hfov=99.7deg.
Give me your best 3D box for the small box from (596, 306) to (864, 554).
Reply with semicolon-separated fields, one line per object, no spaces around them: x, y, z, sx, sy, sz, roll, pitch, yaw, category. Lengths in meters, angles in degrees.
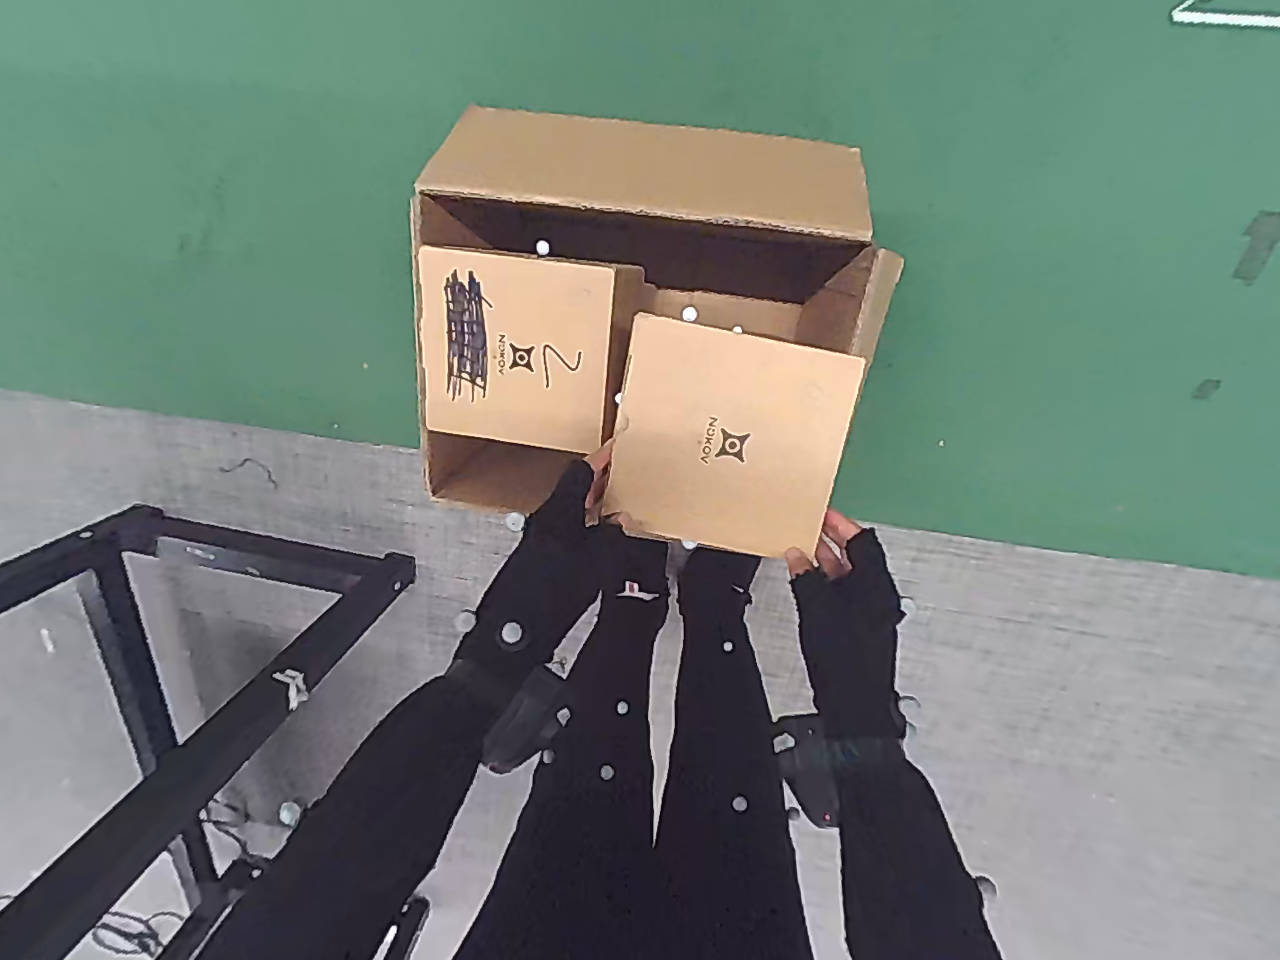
0.069;-0.052;0.491;0.179;0.176;0.168;12;102;2;small box
